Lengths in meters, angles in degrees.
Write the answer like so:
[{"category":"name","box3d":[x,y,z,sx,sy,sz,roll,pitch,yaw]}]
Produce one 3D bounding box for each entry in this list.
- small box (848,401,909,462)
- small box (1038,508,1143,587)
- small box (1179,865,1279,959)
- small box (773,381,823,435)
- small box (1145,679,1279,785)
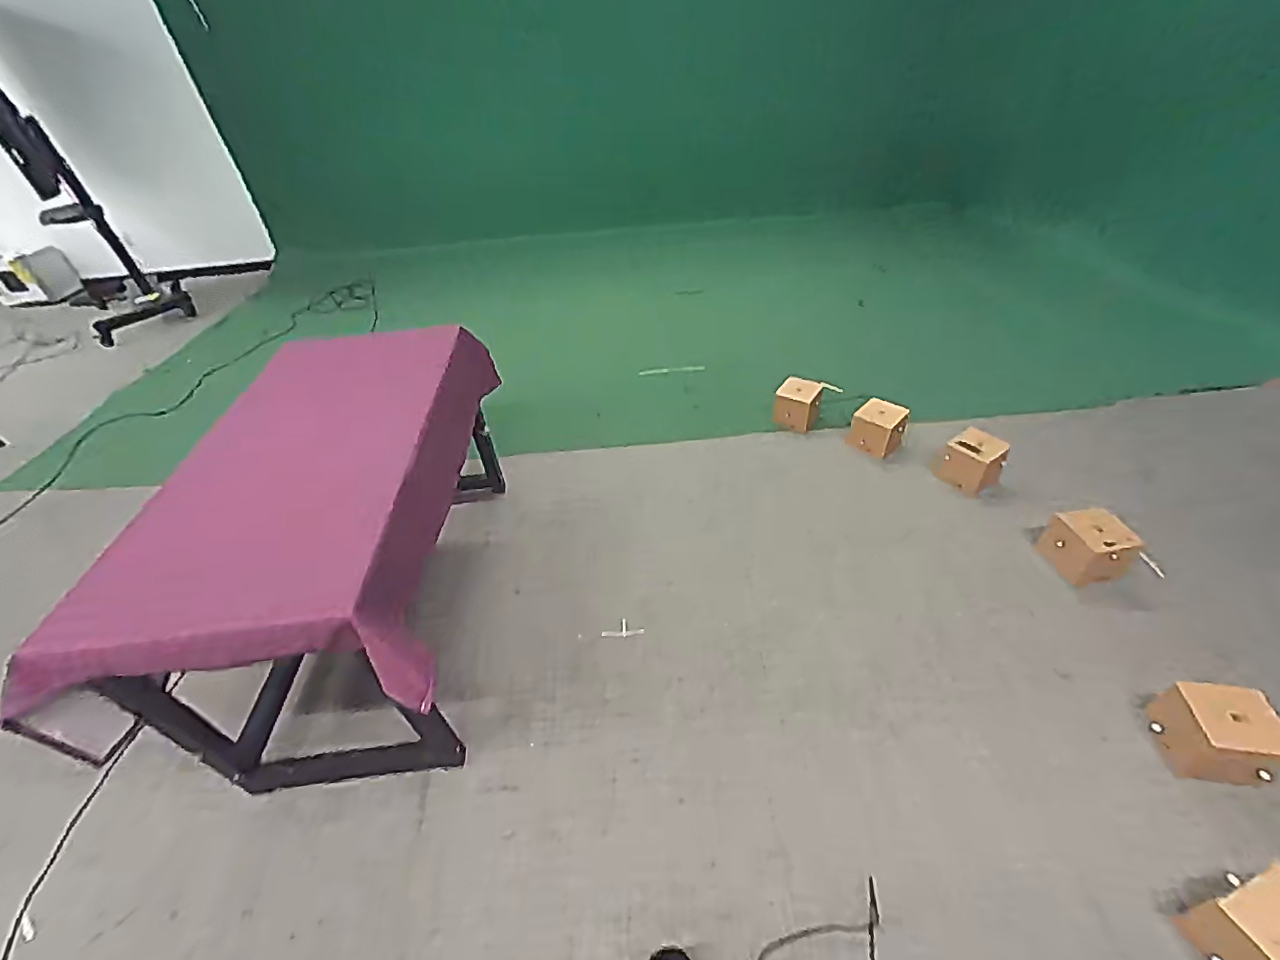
[{"category":"small box","box3d":[1.014,-0.207,2.313,0.168,0.176,0.179,30,52,35]},{"category":"small box","box3d":[1.446,0.218,1.752,0.168,0.176,0.179,-10,39,-3]},{"category":"small box","box3d":[1.194,0.871,1.018,0.179,0.176,0.168,-17,41,-12]},{"category":"small box","box3d":[0.724,-0.330,2.492,0.168,0.176,0.179,22,47,28]},{"category":"small box","box3d":[1.389,0.609,1.301,0.179,0.176,0.168,4,41,12]}]
